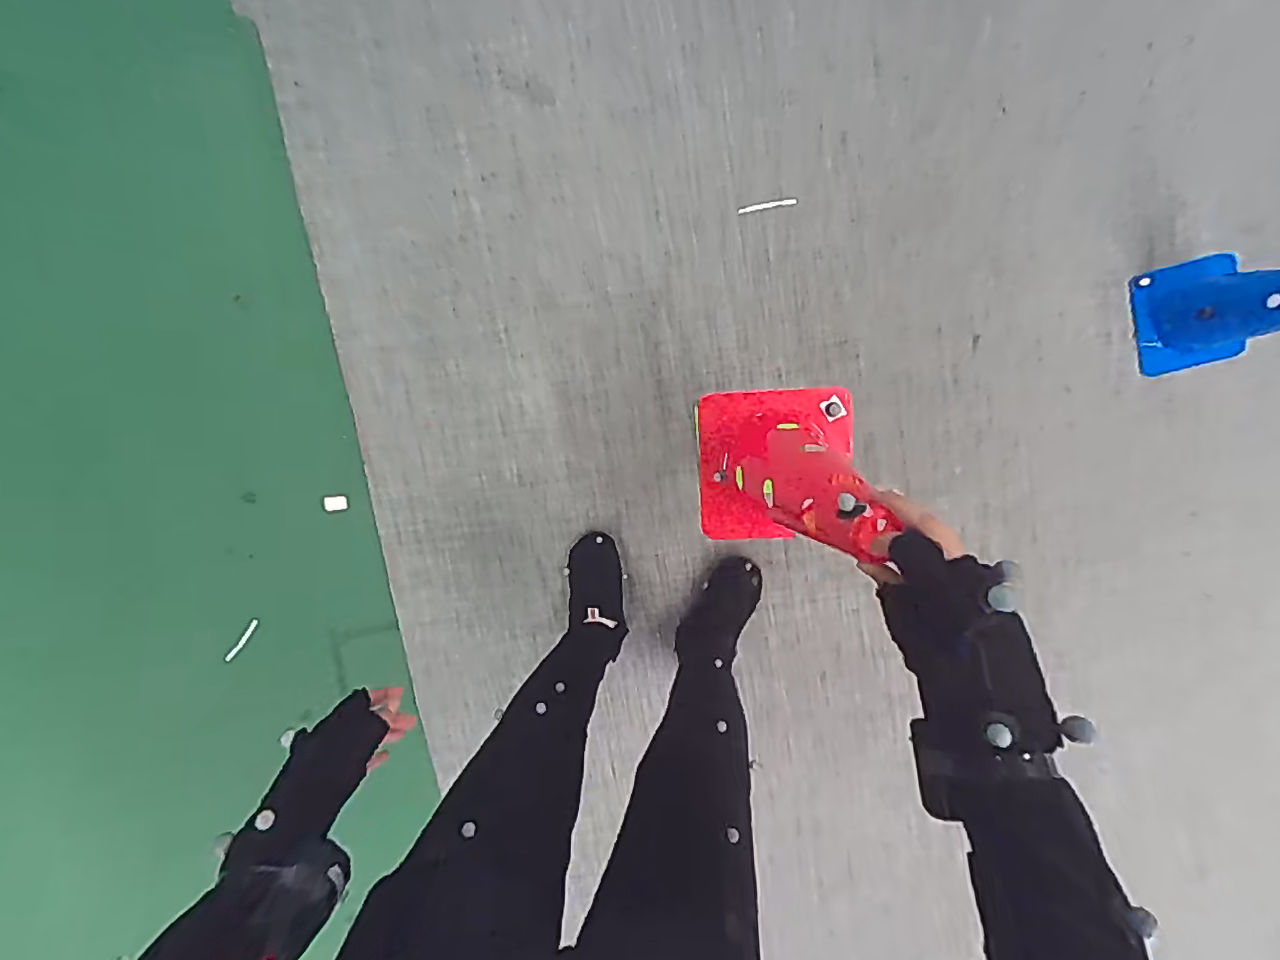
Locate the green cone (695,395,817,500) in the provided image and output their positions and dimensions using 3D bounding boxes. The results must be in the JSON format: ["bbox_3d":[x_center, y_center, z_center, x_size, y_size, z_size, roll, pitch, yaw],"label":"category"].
[{"bbox_3d":[0.218,-0.042,0.919,0.202,0.368,0.200,-6,97,0],"label":"green cone"}]
